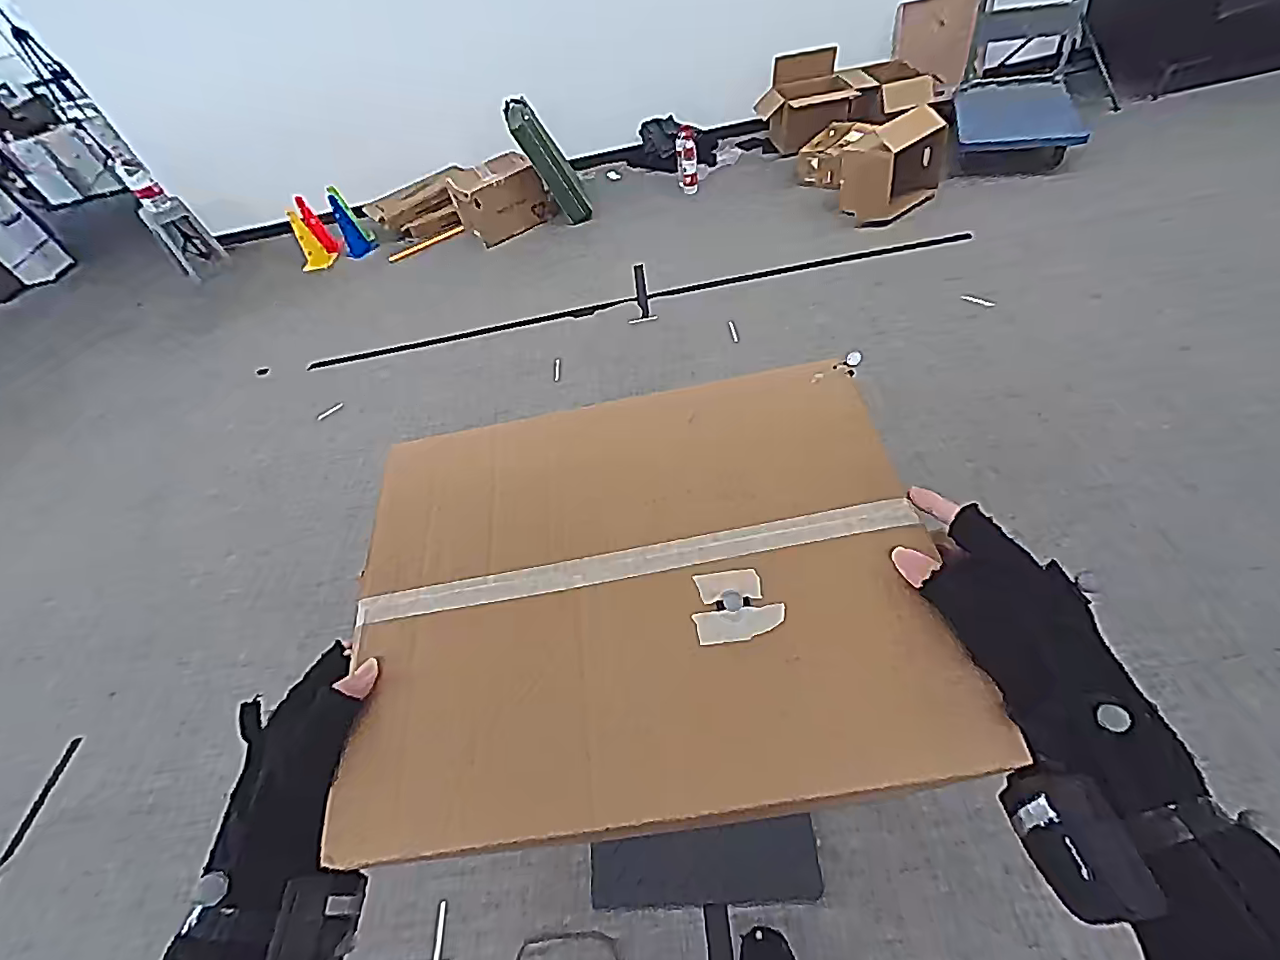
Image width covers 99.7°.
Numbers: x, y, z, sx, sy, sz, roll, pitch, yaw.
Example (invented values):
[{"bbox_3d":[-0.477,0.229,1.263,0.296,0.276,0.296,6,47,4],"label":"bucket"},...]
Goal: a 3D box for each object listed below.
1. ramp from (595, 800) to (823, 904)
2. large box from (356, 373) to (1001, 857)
[{"bbox_3d":[0.117,0.459,1.396,0.509,0.206,0.991,-8,49,5],"label":"ramp"},{"bbox_3d":[0.019,0.148,0.527,0.408,0.320,0.320,-11,57,3],"label":"large box"}]
